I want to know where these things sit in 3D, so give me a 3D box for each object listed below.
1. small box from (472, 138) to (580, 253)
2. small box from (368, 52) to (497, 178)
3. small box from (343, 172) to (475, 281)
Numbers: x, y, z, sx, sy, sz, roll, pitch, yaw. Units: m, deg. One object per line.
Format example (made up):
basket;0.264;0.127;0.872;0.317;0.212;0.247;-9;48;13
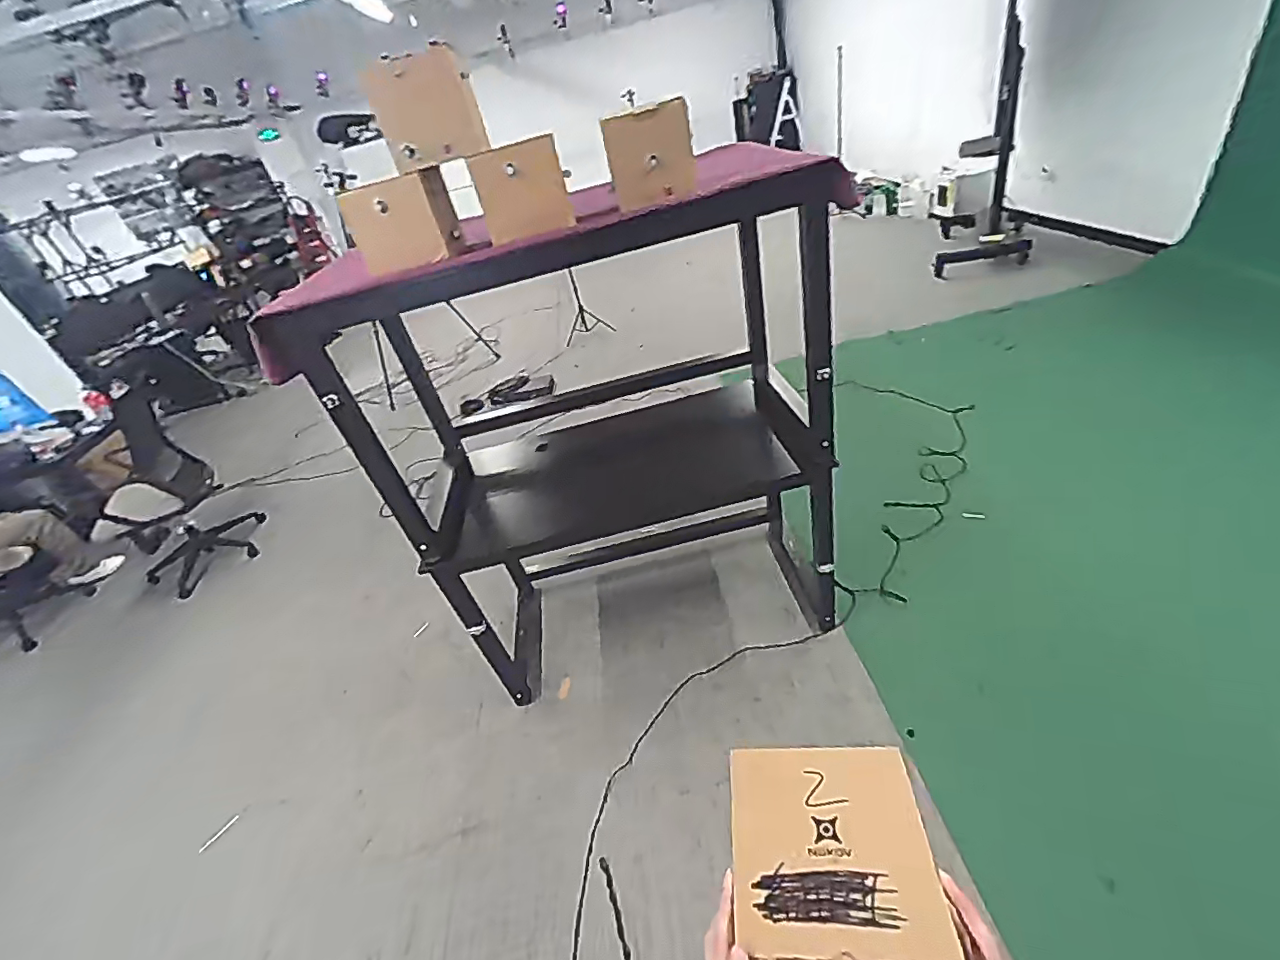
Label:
small box;-0.229;-0.600;1.139;0.179;0.176;0.168;-15;34;2
small box;-0.393;-0.706;1.062;0.168;0.176;0.179;-14;33;1
small box;-0.478;-0.537;1.146;0.179;0.176;0.168;-11;34;5
